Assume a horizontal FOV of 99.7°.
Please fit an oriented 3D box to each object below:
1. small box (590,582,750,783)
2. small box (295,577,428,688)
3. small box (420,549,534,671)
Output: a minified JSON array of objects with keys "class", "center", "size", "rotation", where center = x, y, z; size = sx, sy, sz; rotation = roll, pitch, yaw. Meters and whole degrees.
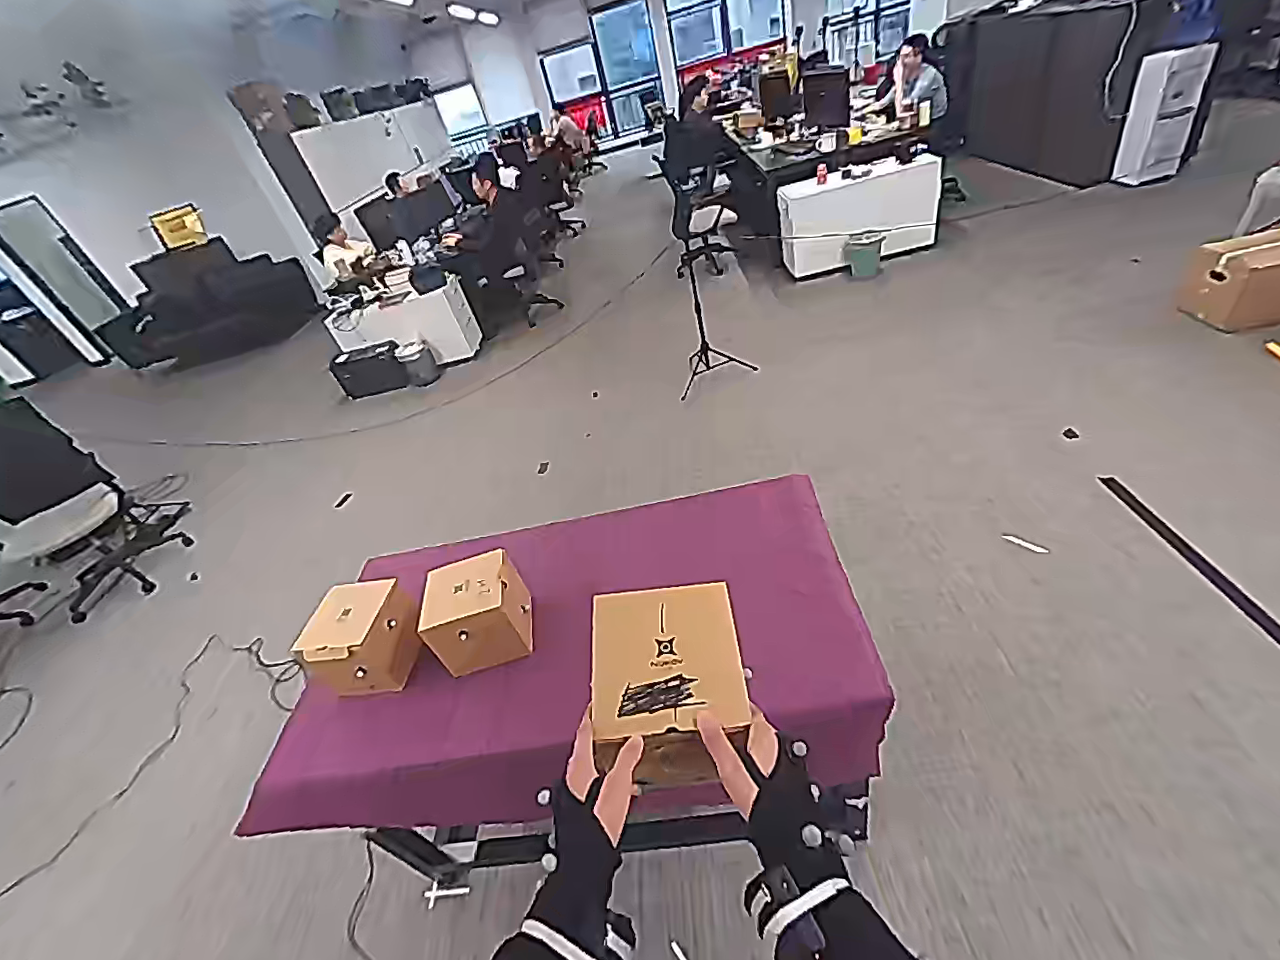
[{"class":"small box","center":[0.037,0.250,0.654],"size":[0.168,0.176,0.179],"rotation":[-6,43,2]},{"class":"small box","center":[-0.593,0.339,1.185],"size":[0.168,0.176,0.179],"rotation":[-7,38,11]},{"class":"small box","center":[-0.340,0.281,1.159],"size":[0.179,0.176,0.168],"rotation":[-16,38,1]}]
